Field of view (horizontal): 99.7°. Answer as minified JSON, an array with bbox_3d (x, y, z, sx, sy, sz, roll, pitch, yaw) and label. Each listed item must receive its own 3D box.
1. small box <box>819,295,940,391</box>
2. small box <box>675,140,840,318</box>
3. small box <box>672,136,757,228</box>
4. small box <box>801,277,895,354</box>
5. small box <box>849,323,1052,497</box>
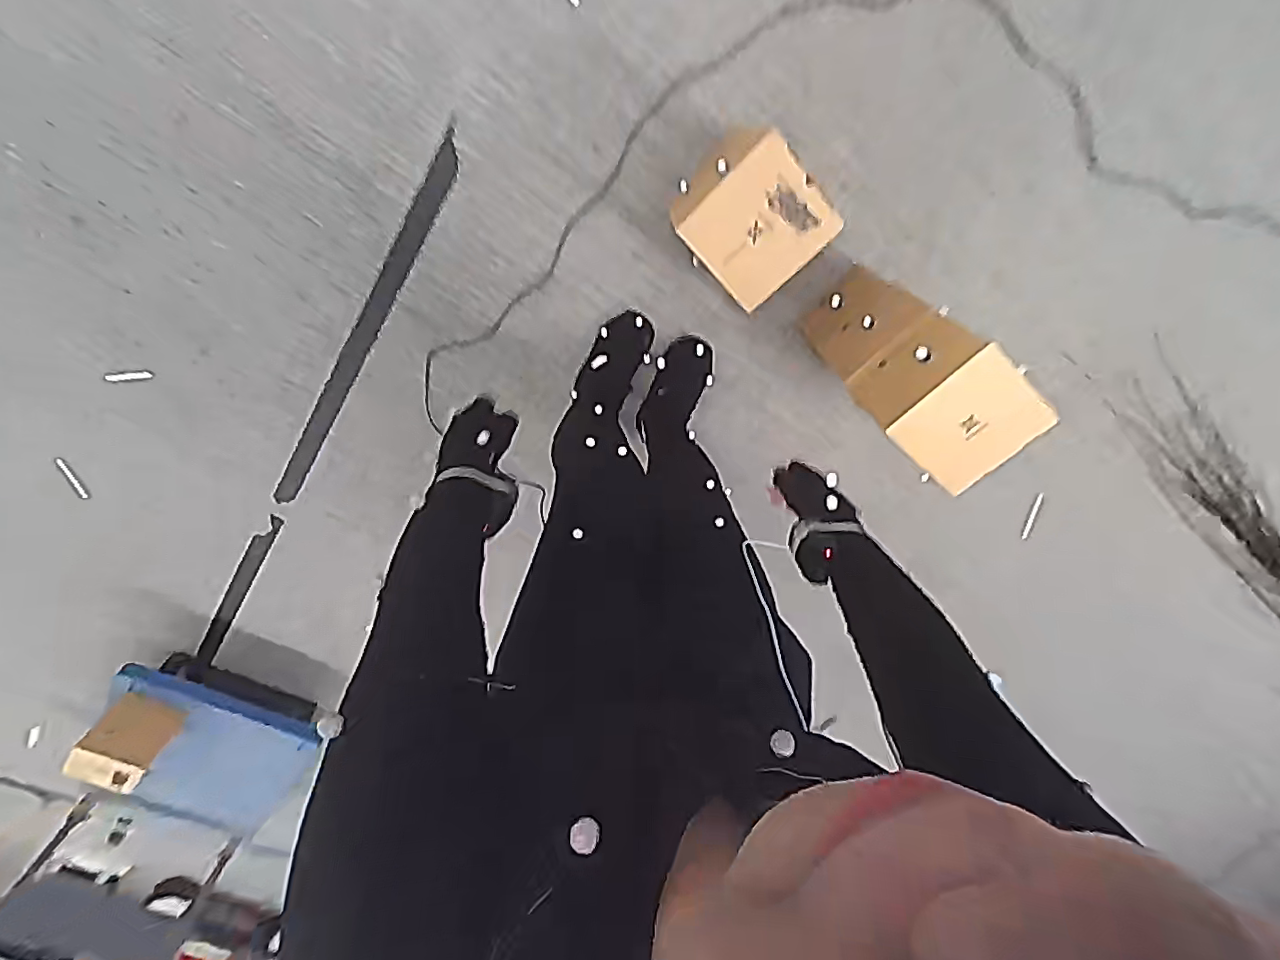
[{"bbox_3d":[0.446,-0.202,0.951,0.179,0.176,0.168,37,116,-22],"label":"small box"},{"bbox_3d":[0.168,-0.390,0.832,0.179,0.176,0.168,-40,115,23],"label":"small box"},{"bbox_3d":[0.172,-0.479,0.970,0.168,0.176,0.179,38,114,-22],"label":"small box"},{"bbox_3d":[0.454,-0.287,1.093,0.179,0.176,0.168,35,116,-20],"label":"small box"},{"bbox_3d":[0.450,-0.113,0.814,0.179,0.176,0.168,35,116,-21],"label":"small box"}]
